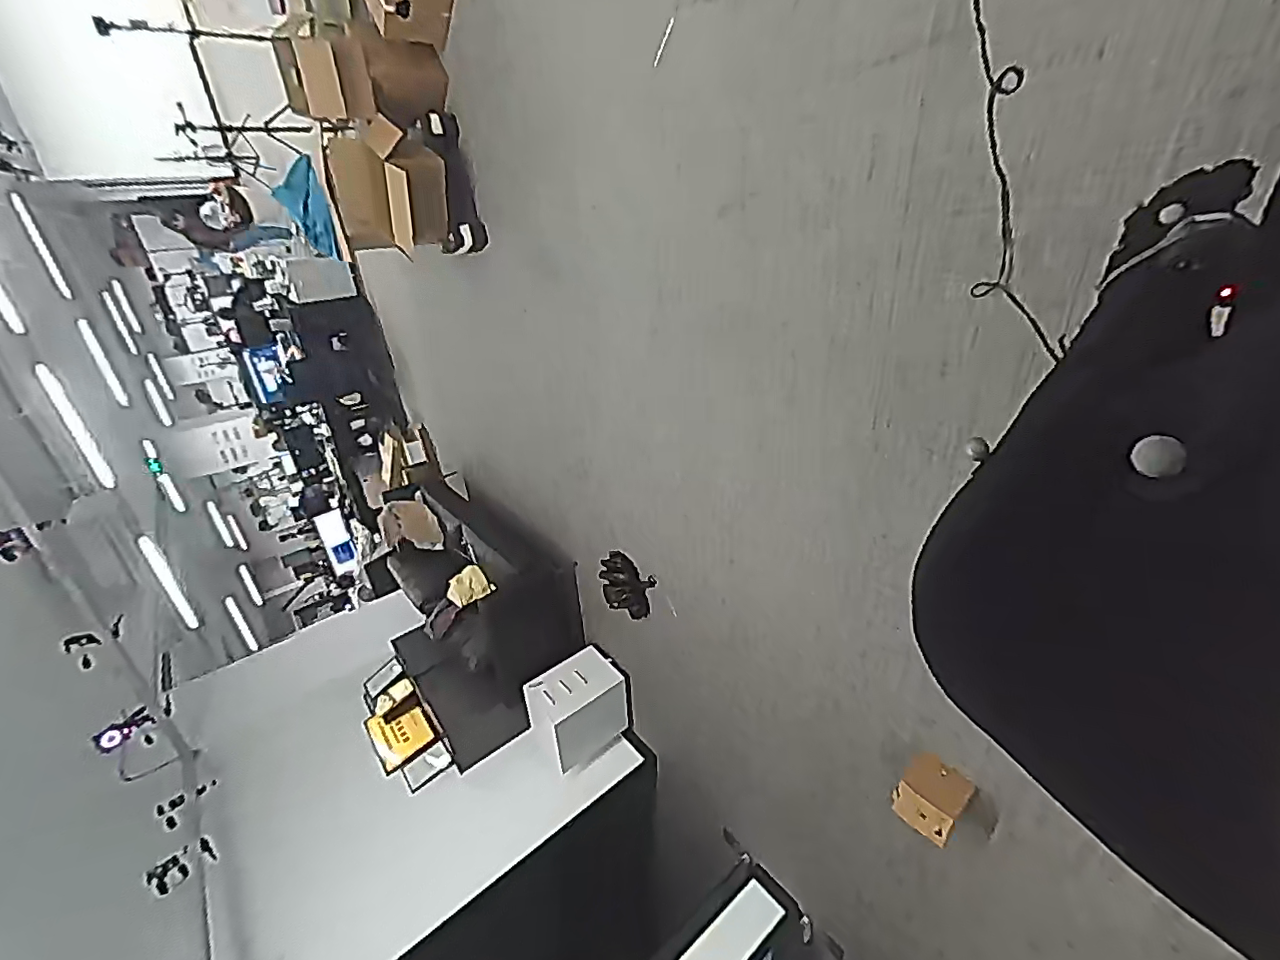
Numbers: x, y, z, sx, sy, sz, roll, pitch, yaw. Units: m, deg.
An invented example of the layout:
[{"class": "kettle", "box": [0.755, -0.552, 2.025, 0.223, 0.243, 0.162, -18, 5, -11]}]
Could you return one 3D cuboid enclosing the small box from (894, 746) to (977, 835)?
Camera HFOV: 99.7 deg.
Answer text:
[{"class": "small box", "box": [1.004, 1.044, 1.841, 0.179, 0.176, 0.168, 31, 134, 43]}]
